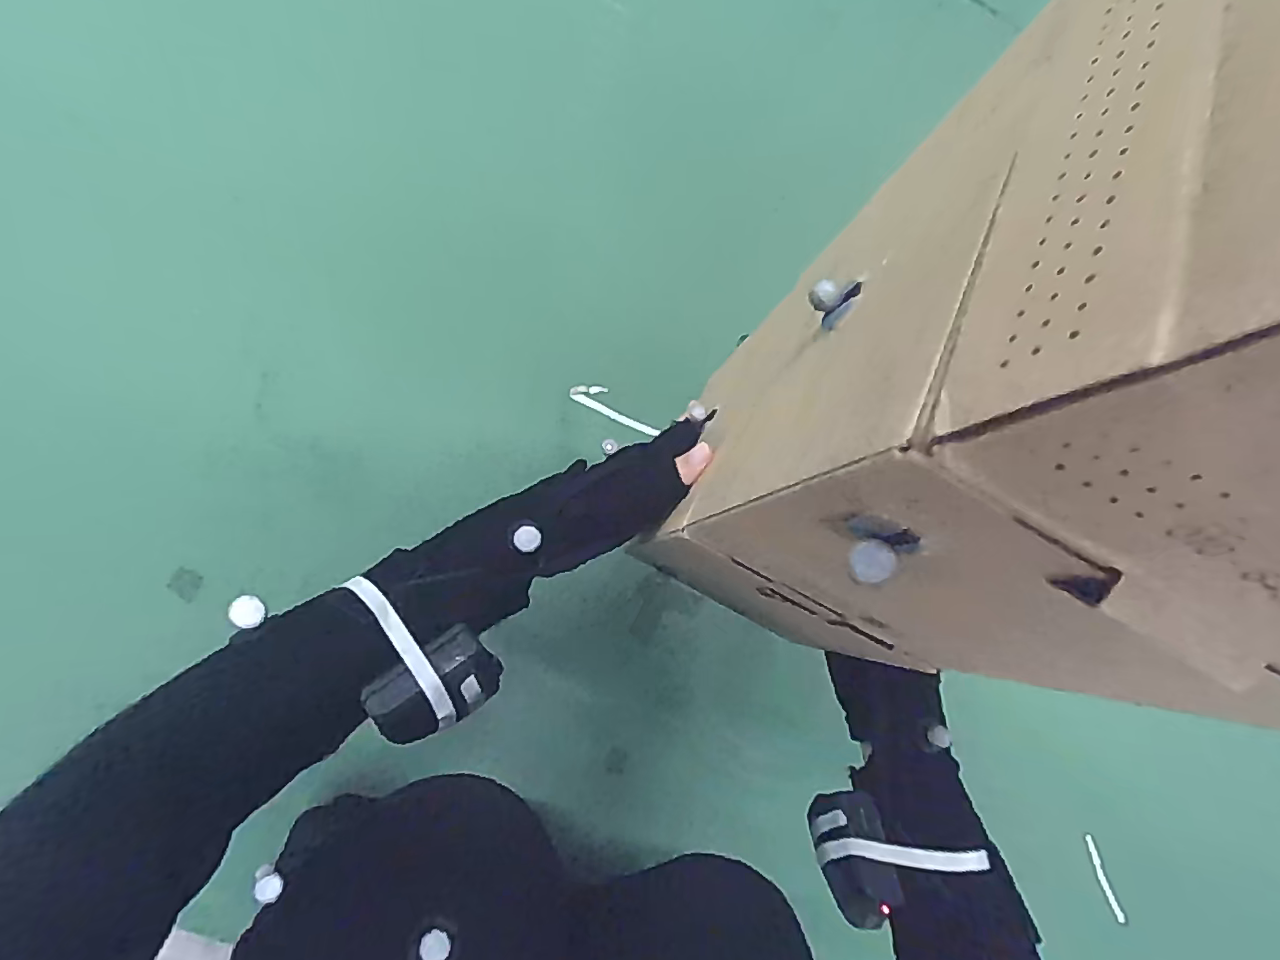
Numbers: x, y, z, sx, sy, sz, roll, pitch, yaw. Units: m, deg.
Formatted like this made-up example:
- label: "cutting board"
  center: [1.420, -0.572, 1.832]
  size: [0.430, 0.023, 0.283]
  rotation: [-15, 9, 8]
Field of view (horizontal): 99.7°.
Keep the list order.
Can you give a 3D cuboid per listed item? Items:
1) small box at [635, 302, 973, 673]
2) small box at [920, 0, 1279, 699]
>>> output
- label: "small box"
  center: [0.109, 0.016, 0.398]
  size: [0.168, 0.176, 0.179]
  rotation: [29, 73, -6]
- label: "small box"
  center: [0.183, -0.057, 0.088]
  size: [0.168, 0.176, 0.179]
  rotation: [27, 73, -7]
